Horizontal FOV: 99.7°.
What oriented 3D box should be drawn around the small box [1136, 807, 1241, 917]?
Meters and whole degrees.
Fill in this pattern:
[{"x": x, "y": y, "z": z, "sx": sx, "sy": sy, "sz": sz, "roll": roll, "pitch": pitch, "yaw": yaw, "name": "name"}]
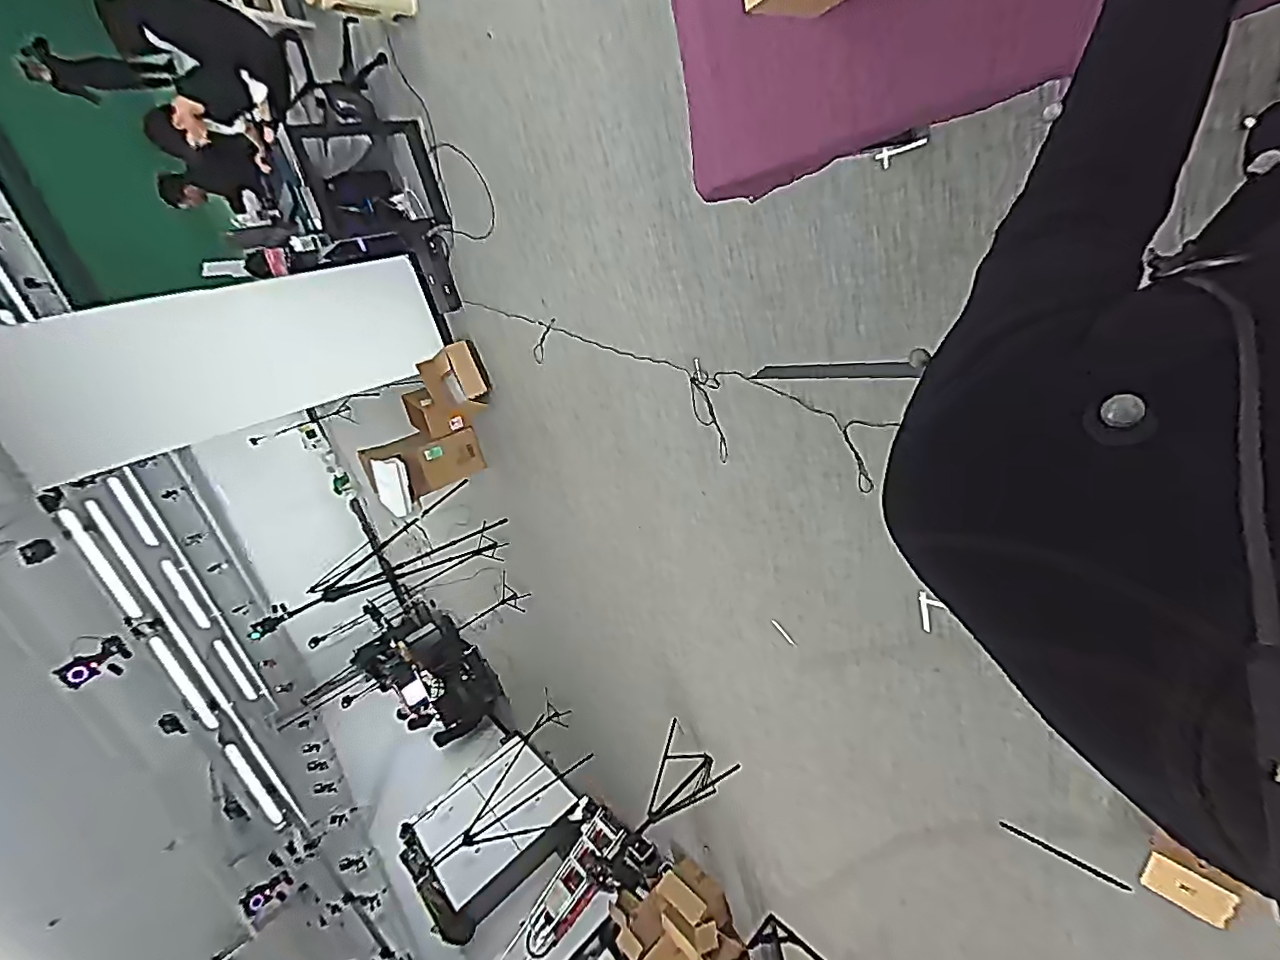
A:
[{"x": 1.606, "y": 1.102, "z": 1.583, "sx": 0.179, "sy": 0.176, "sz": 0.168, "roll": 19, "pitch": 129, "yaw": 44, "name": "small box"}]
